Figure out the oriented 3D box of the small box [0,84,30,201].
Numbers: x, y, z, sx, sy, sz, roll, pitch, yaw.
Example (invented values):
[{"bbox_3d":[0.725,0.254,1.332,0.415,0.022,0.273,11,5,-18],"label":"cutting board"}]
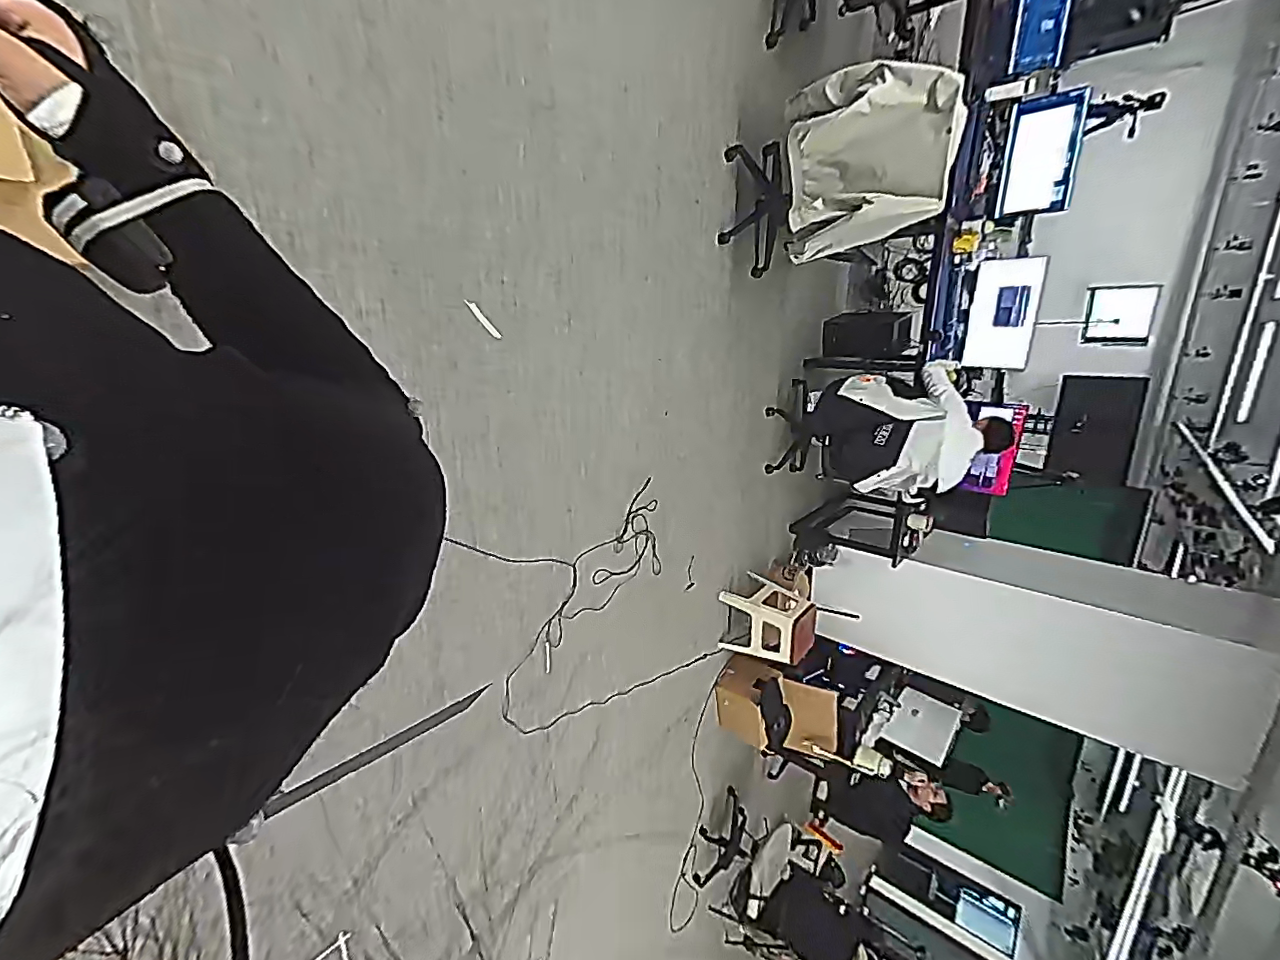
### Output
[{"bbox_3d":[-1.018,-0.510,0.770,0.168,0.176,0.179,-21,116,-47],"label":"small box"}]
